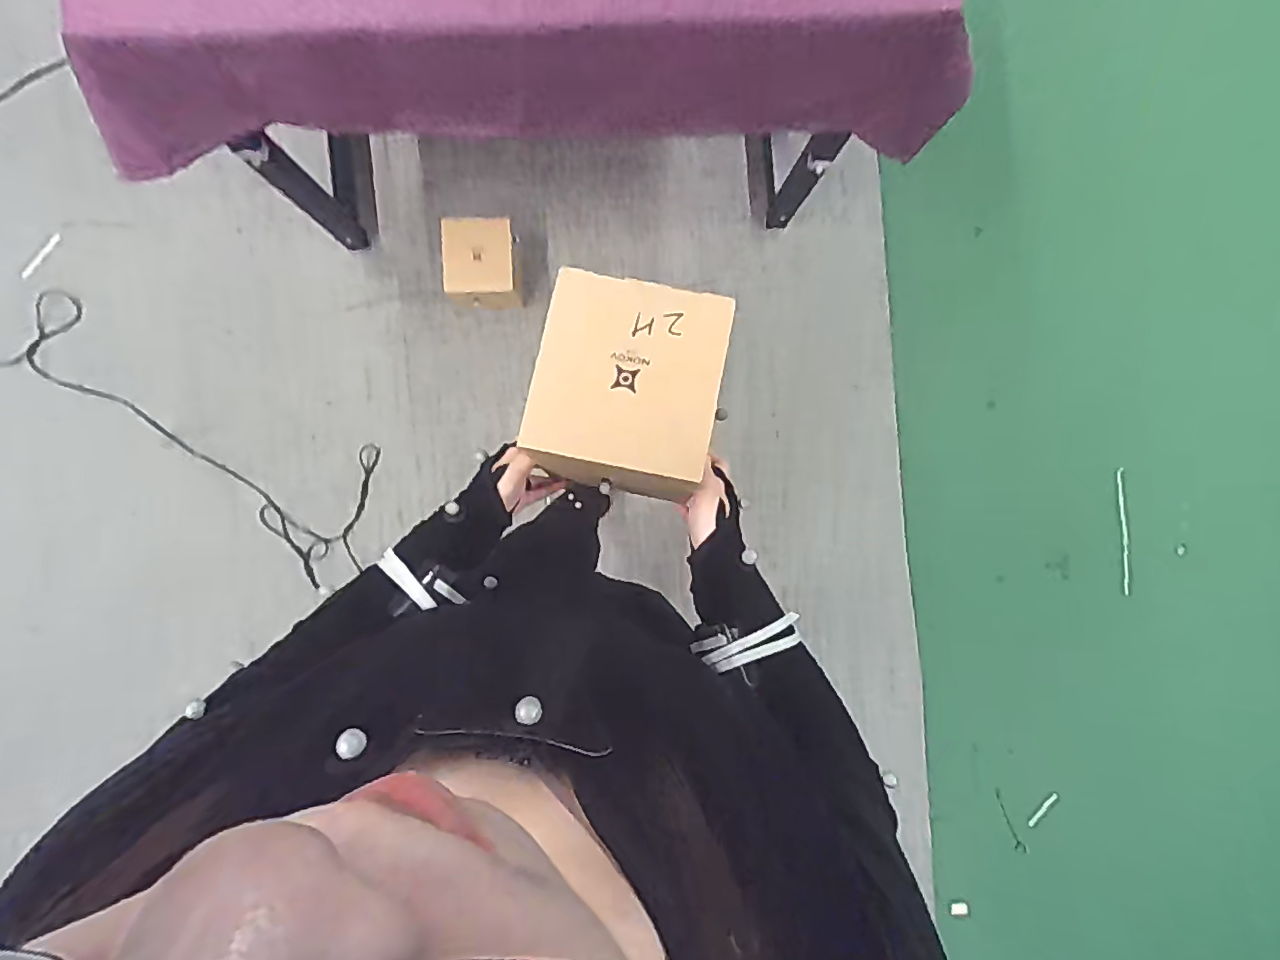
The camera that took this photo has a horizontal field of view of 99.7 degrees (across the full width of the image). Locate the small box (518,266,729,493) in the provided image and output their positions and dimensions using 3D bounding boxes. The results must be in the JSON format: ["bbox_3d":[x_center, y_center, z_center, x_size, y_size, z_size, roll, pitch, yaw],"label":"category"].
[{"bbox_3d":[-0.013,-0.090,0.573,0.168,0.176,0.179,13,82,1],"label":"small box"}]
